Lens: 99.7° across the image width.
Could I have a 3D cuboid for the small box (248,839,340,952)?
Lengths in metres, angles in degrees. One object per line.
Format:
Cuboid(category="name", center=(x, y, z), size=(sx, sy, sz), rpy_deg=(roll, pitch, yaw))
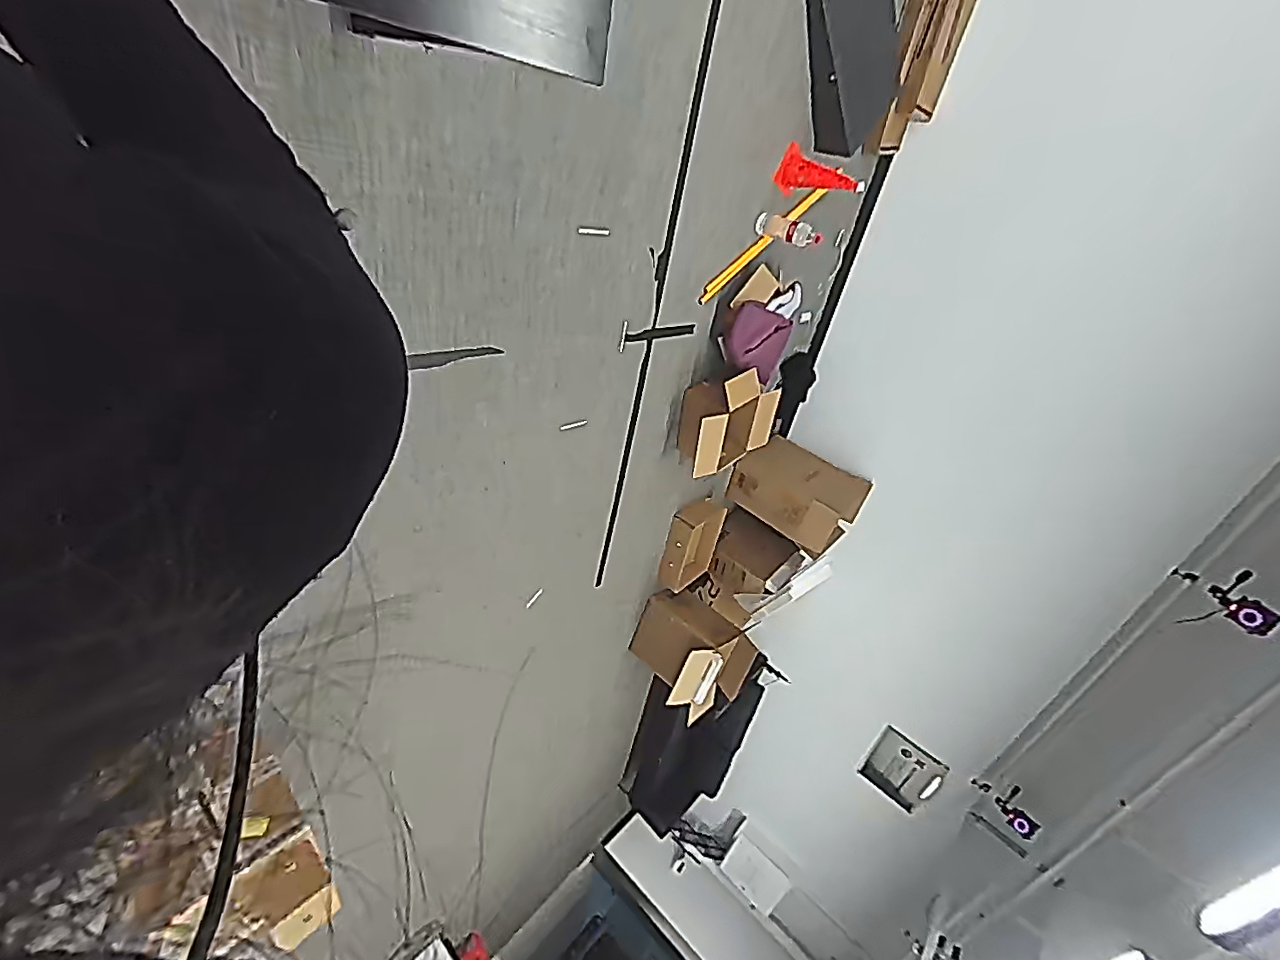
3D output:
Cuboid(category="small box", center=(-1.010, 1.206, 1.583), size=(0.168, 0.176, 0.179), rpy_deg=(-26, 134, -45))
